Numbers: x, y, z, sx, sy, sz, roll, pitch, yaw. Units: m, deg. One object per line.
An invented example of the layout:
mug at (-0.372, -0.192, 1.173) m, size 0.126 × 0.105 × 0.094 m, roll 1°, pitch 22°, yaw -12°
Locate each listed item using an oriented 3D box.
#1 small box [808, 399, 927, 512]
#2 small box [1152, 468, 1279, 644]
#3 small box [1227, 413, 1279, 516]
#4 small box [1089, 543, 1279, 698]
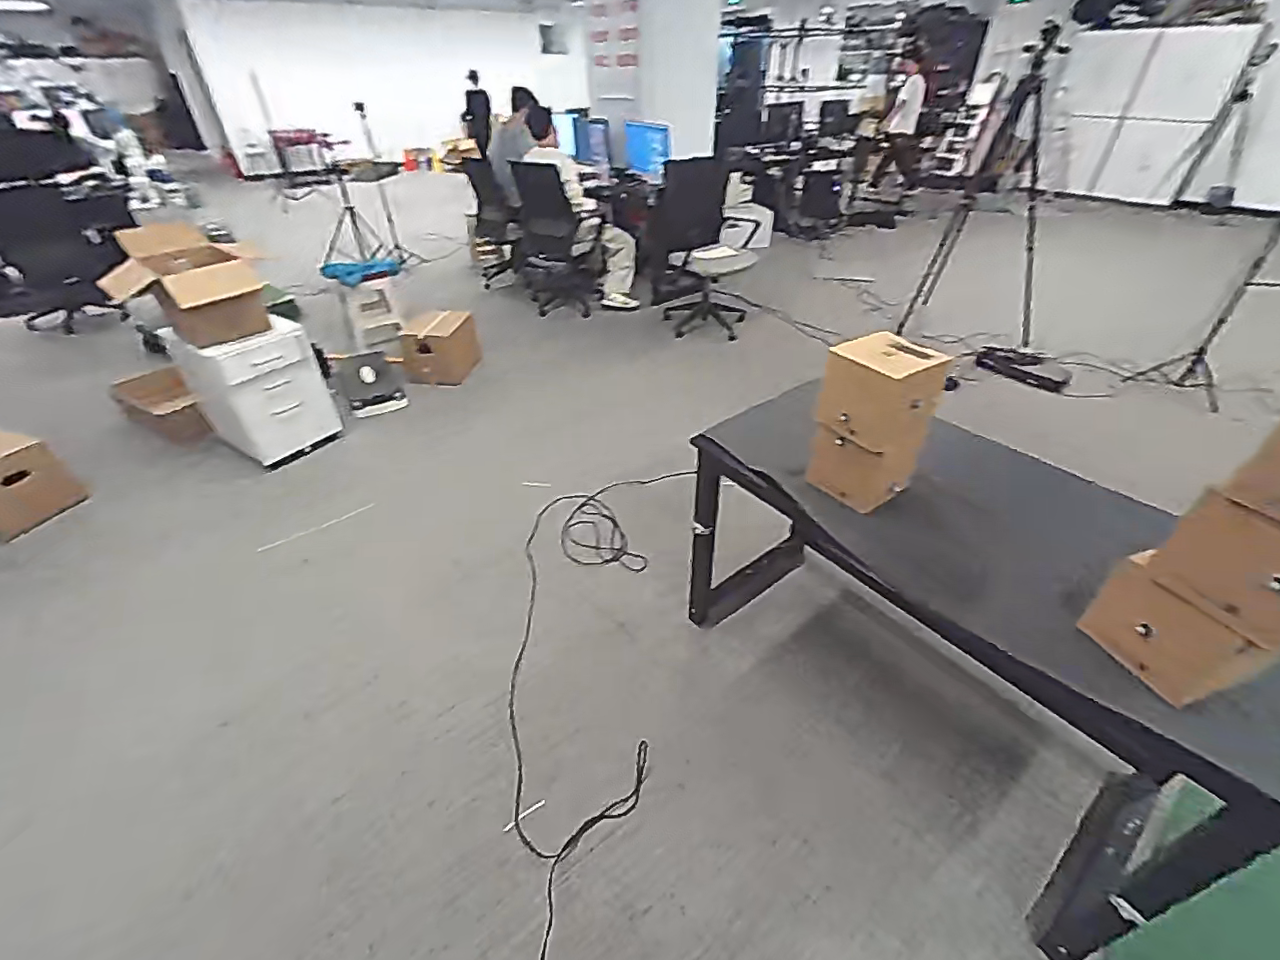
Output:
small box at (0.504, -0.057, 1.222) m, size 0.179 × 0.176 × 0.168 m, roll -25°, pitch 42°, yaw -29°
small box at (0.857, 0.091, 0.728) m, size 0.179 × 0.176 × 0.168 m, roll -13°, pitch 39°, yaw -19°
small box at (0.855, -0.036, 0.623) m, size 0.179 × 0.176 × 0.168 m, roll -18°, pitch 40°, yaw -22°
small box at (0.855, 0.210, 0.840) m, size 0.179 × 0.176 × 0.168 m, roll -10°, pitch 37°, yaw -14°
